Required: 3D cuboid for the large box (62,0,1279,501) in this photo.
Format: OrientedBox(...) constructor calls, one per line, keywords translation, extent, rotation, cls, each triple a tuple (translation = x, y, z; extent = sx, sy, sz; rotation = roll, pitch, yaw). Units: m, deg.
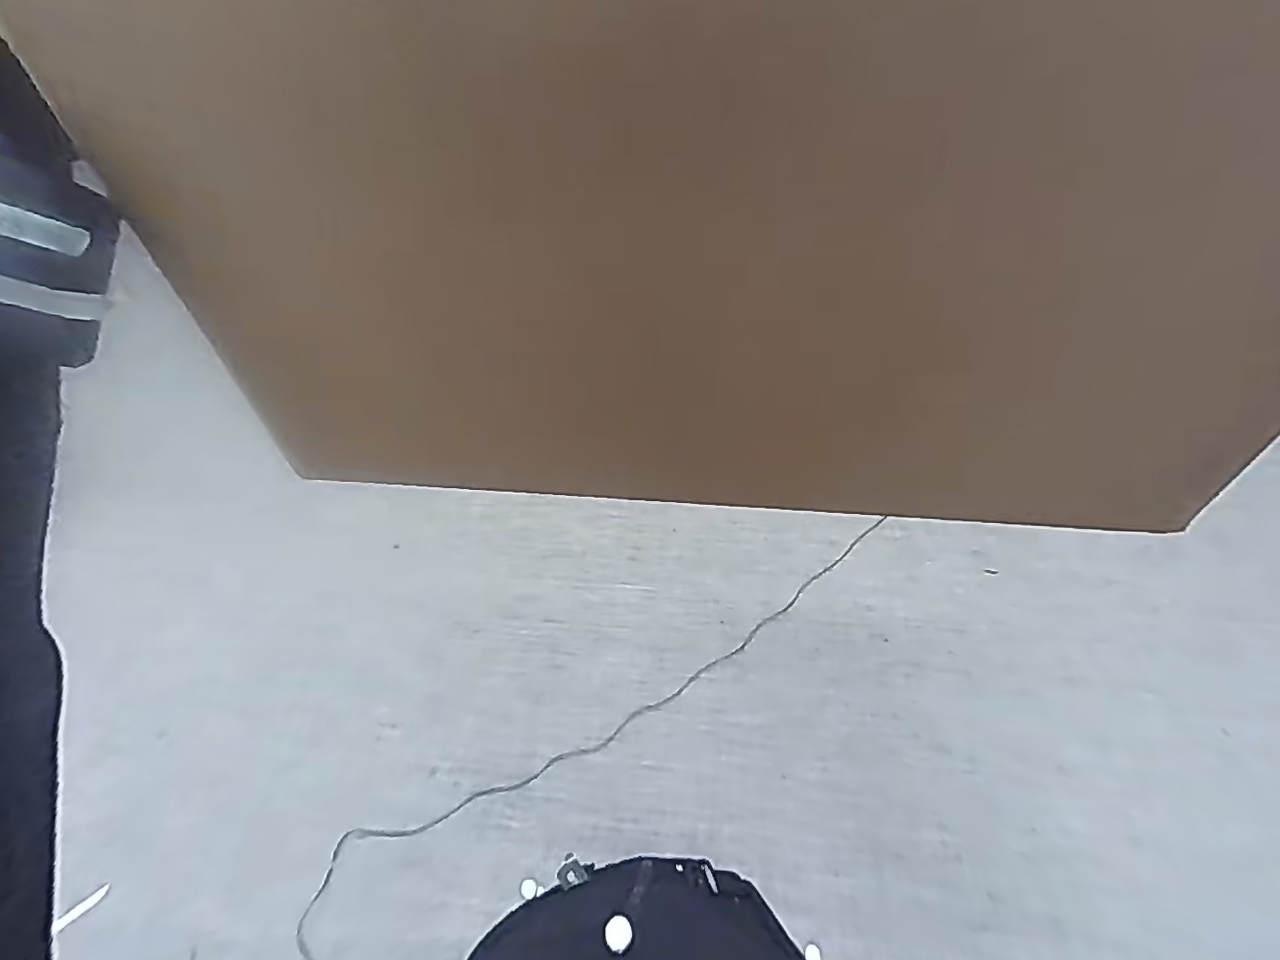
OrientedBox(translation=(0.042, -0.207, 0.267), extent=(0.408, 0.320, 0.320), rotation=(4, 45, 5), cls="large box")
